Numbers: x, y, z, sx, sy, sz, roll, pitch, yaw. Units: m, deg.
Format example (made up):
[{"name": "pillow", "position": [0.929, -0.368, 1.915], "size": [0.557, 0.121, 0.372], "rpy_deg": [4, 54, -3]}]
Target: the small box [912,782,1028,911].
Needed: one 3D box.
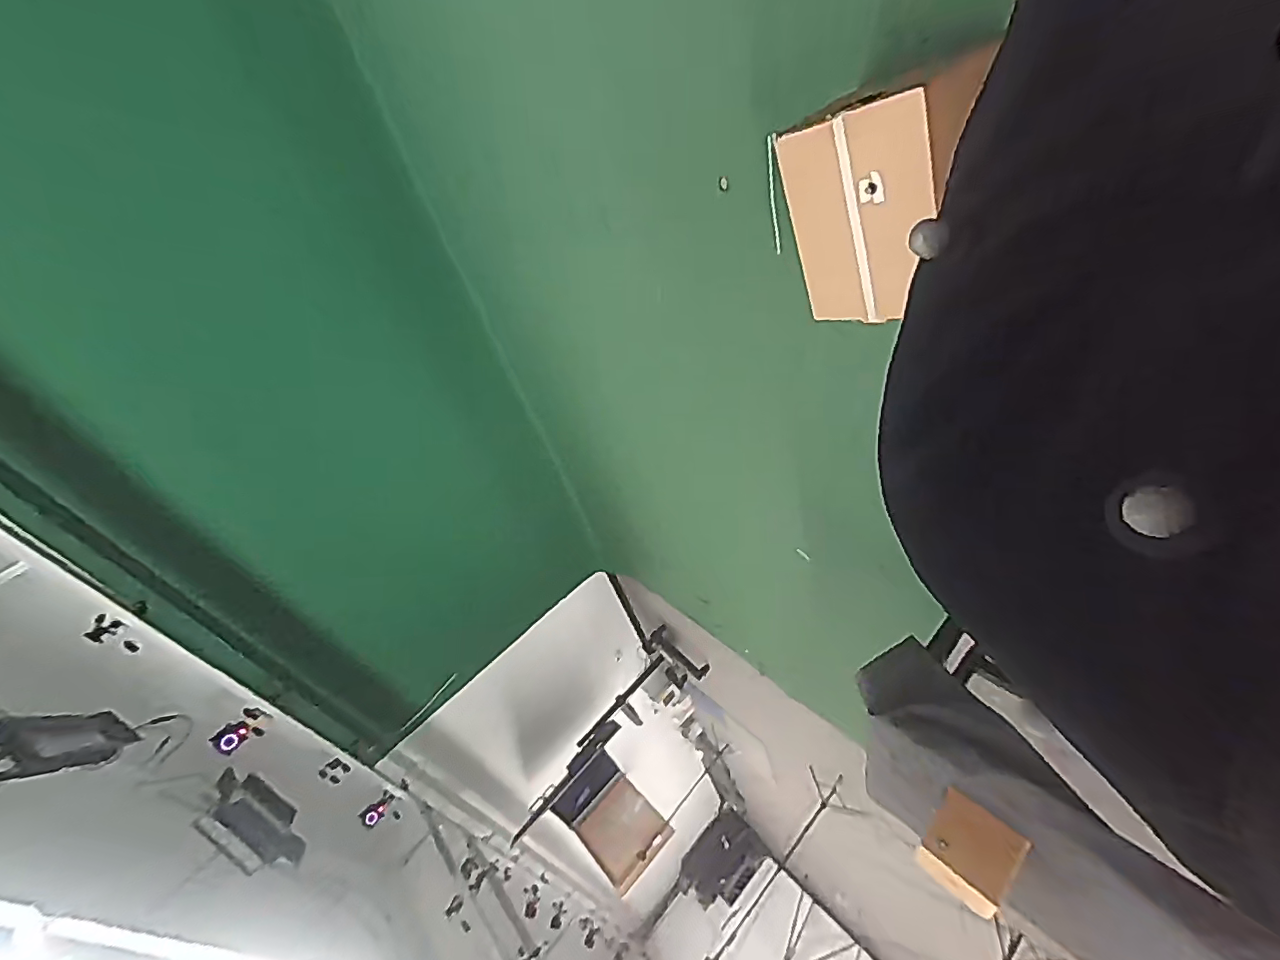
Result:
[{"name": "small box", "position": [0.784, 0.869, 1.291], "size": [0.179, 0.176, 0.168], "rpy_deg": [30, 151, 40]}]
